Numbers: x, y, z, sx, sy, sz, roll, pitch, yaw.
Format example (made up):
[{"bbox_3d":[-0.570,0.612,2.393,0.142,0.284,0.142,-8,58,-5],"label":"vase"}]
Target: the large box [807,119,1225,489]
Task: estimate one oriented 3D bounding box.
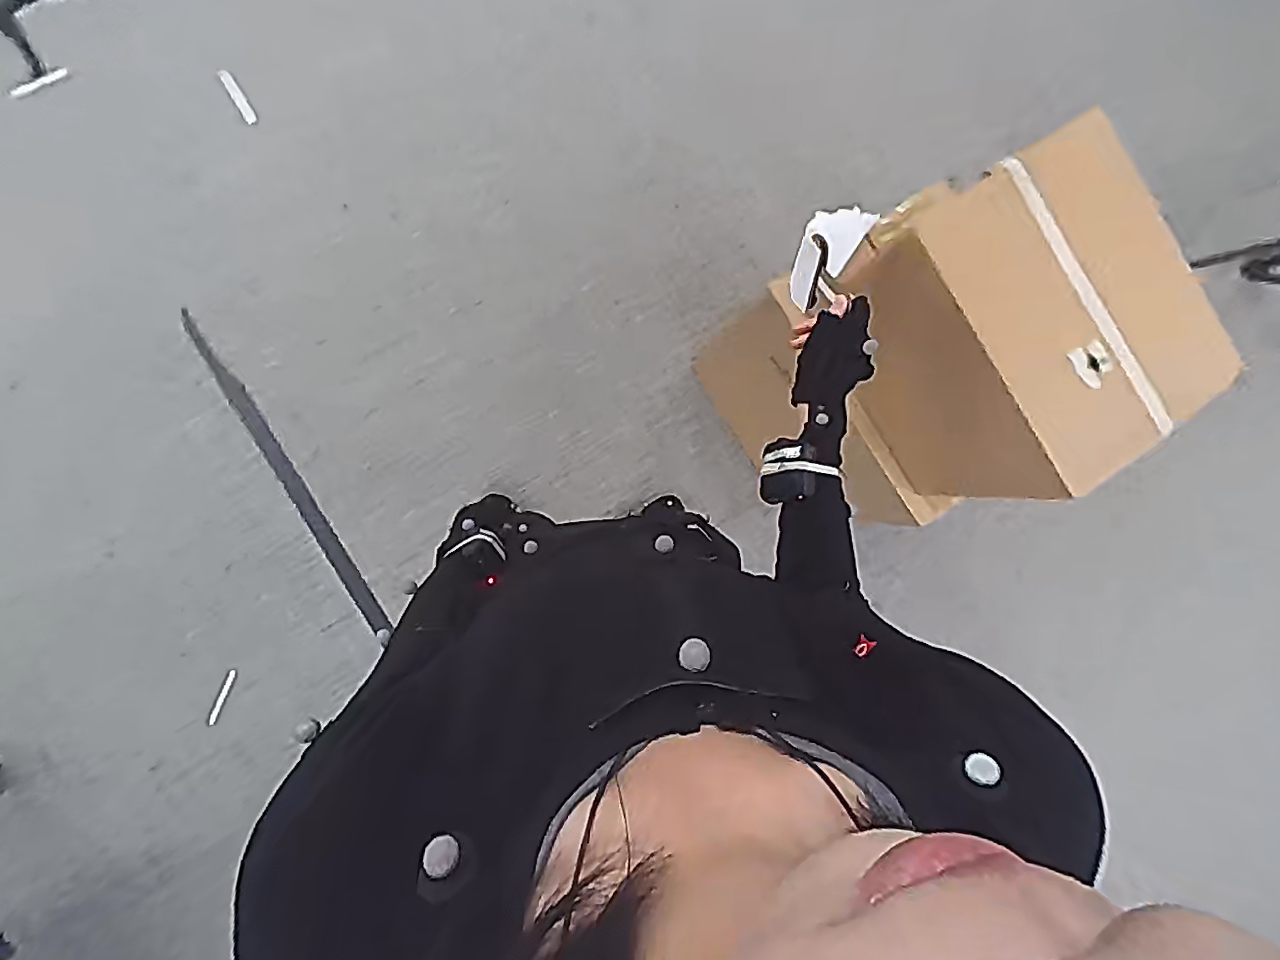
[{"bbox_3d":[0.546,-0.231,0.852,0.320,0.320,0.408,-33,94,-6],"label":"large box"}]
